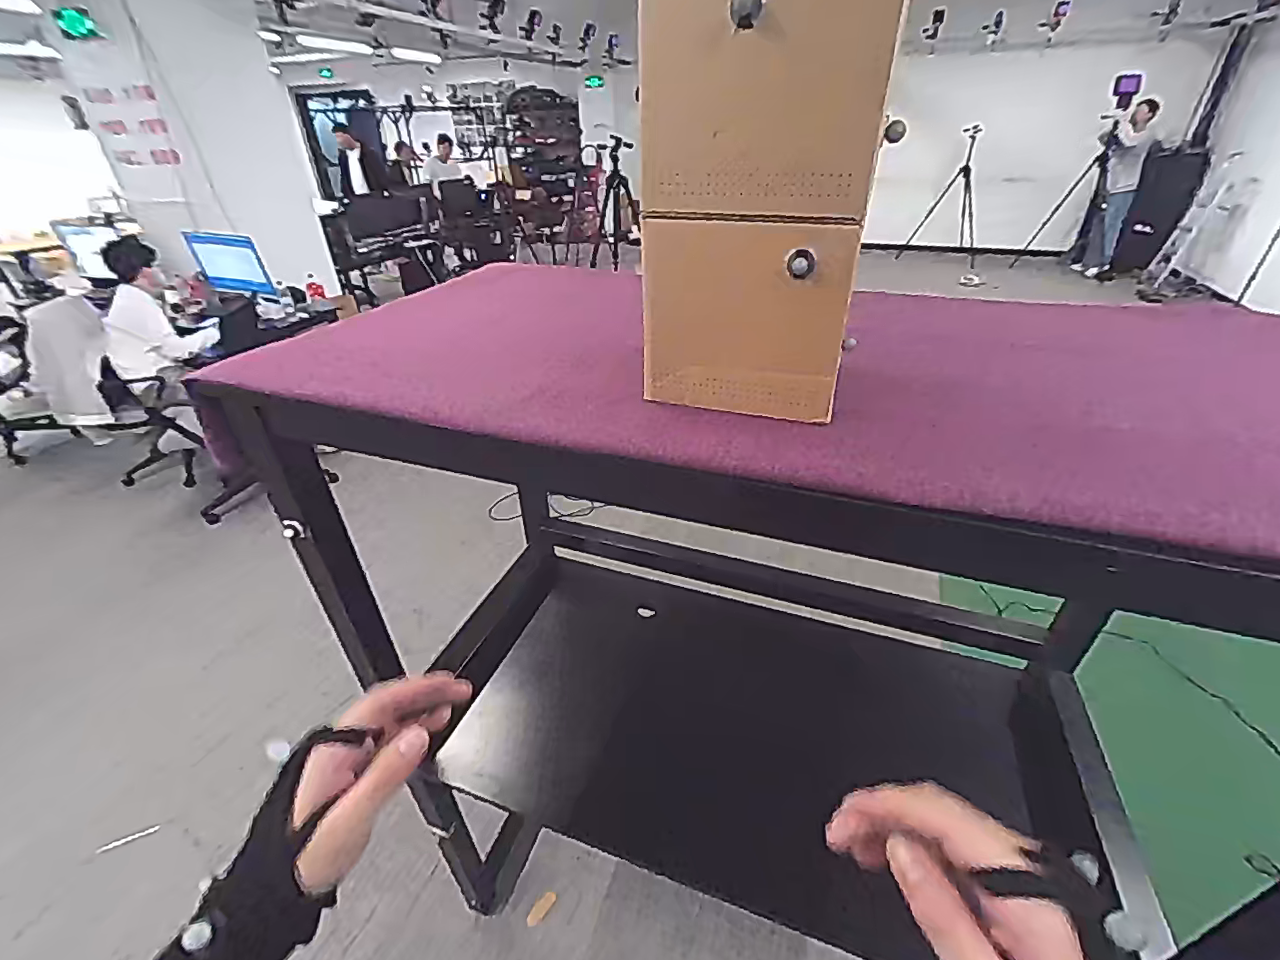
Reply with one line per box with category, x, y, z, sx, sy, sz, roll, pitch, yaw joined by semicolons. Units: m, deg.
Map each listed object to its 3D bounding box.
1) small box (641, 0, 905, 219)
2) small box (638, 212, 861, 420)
small box;0.105;-0.310;0.436;0.179;0.176;0.168;11;35;18
small box;0.107;-0.170;0.523;0.179;0.176;0.168;10;34;17
